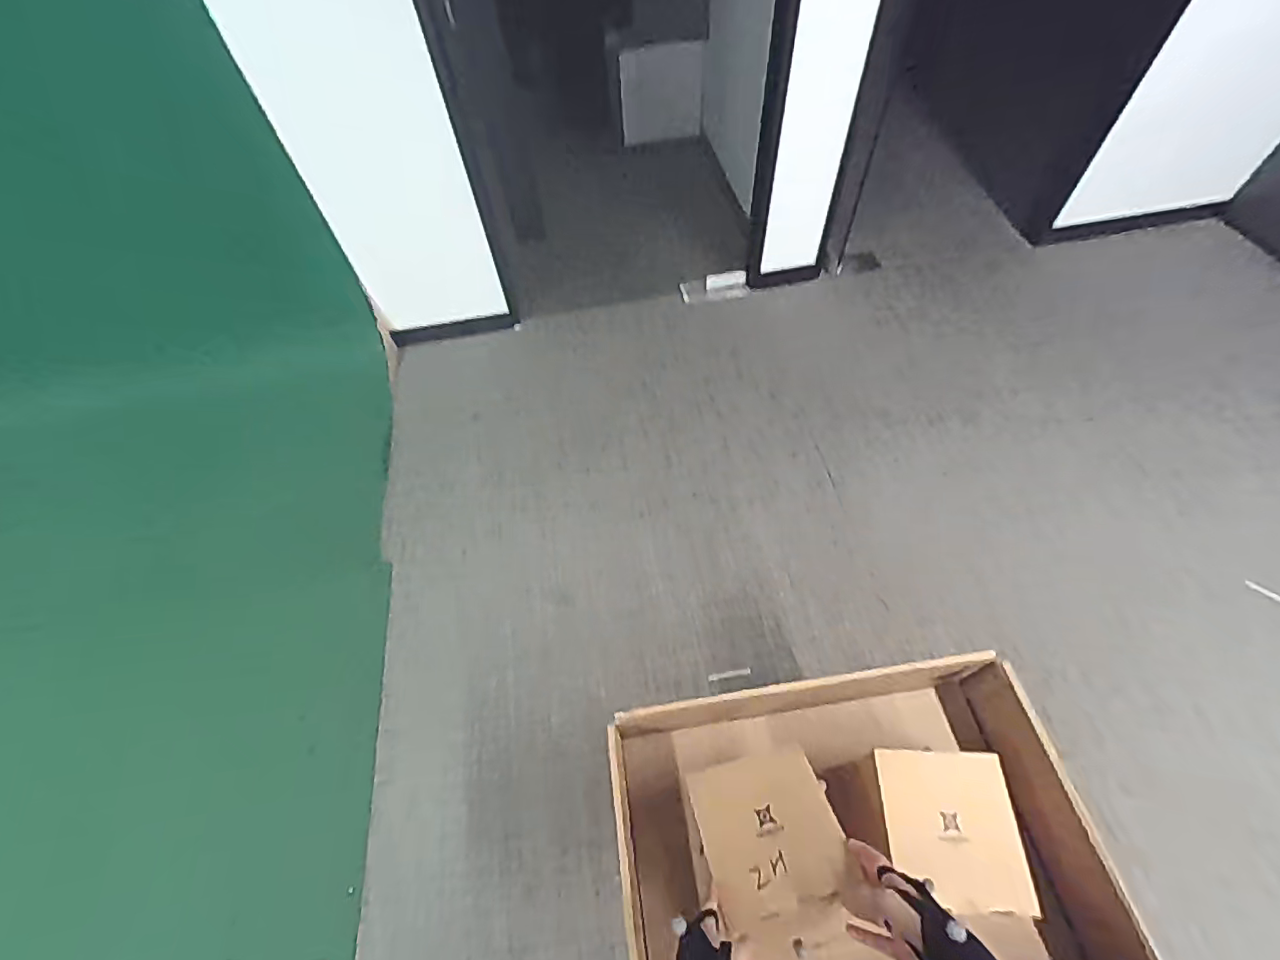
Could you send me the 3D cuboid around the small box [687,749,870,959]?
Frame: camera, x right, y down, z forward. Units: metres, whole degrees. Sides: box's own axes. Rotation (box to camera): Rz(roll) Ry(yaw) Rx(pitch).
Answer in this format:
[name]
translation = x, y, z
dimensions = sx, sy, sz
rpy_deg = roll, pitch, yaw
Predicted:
[small box]
translation = 0.169, 0.491, 0.693
dimensions = 0.168, 0.176, 0.179
rpy_deg = -16, 32, -5
